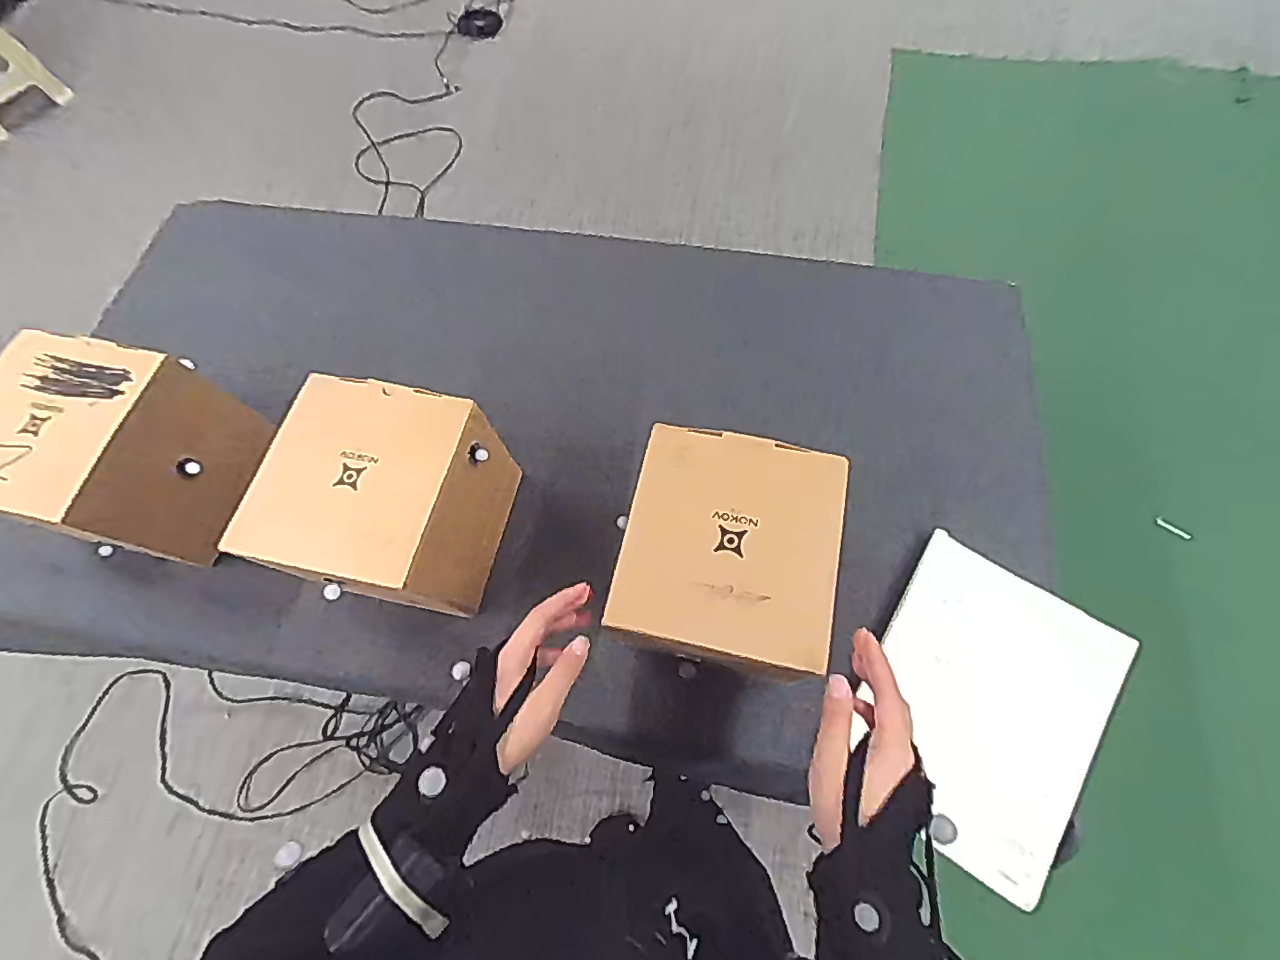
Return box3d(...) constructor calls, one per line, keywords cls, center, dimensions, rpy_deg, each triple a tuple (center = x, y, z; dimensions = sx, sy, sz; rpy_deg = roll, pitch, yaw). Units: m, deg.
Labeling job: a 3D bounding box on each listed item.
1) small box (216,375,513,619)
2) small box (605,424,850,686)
box3d(cls="small box", center=(-0.239, 0.026, 0.526), dimensions=(0.168, 0.176, 0.179), rpy_deg=(10, 67, 8))
box3d(cls="small box", center=(0.076, 0.076, 0.487), dimensions=(0.168, 0.176, 0.179), rpy_deg=(11, 69, 9))
